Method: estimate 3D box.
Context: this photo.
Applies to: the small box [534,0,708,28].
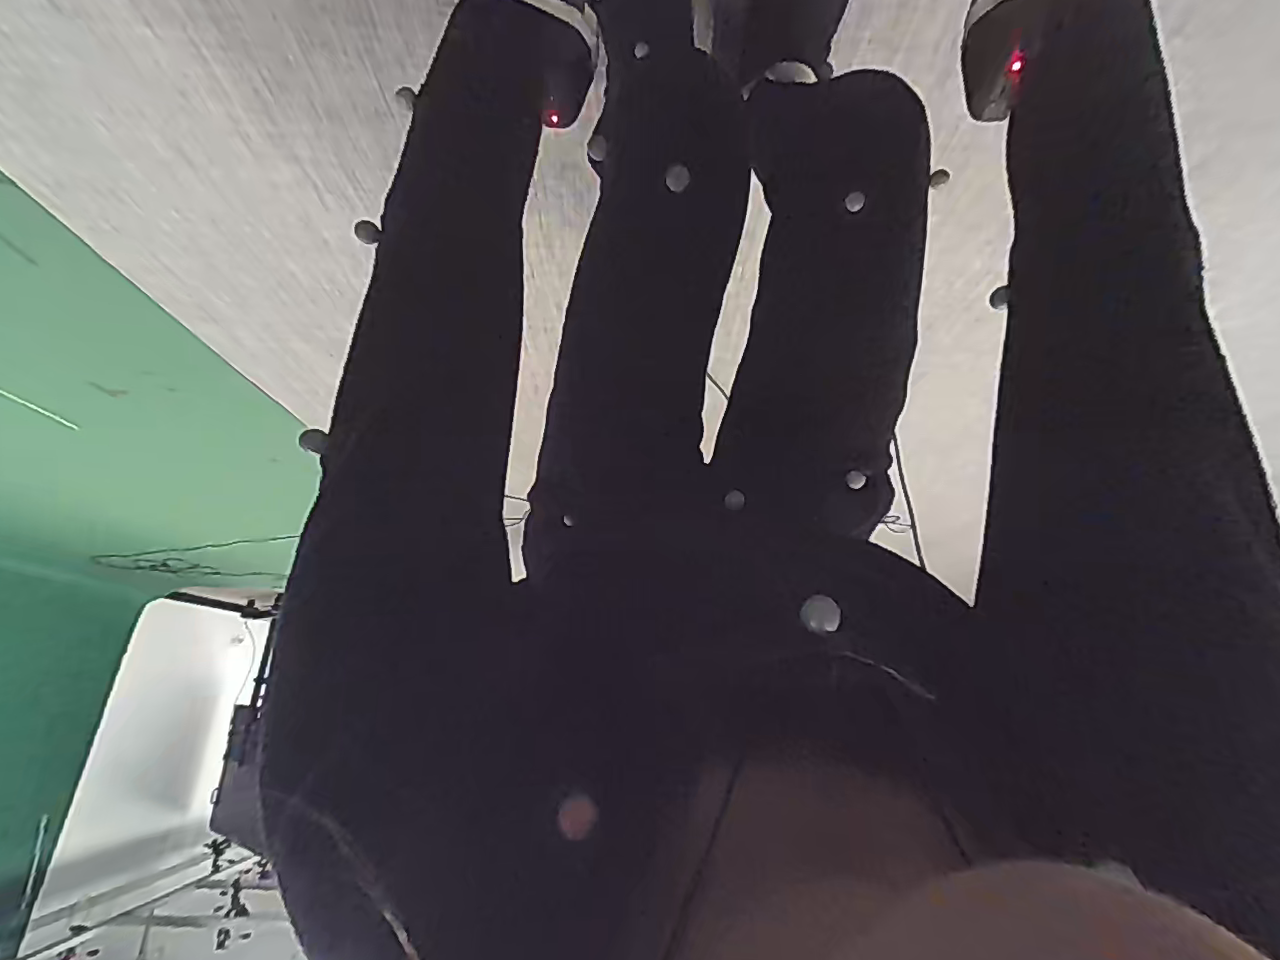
[{"bbox_3d":[0.007,-0.489,0.401,0.168,0.179,0.176,-12,-164,-22],"label":"small box"}]
